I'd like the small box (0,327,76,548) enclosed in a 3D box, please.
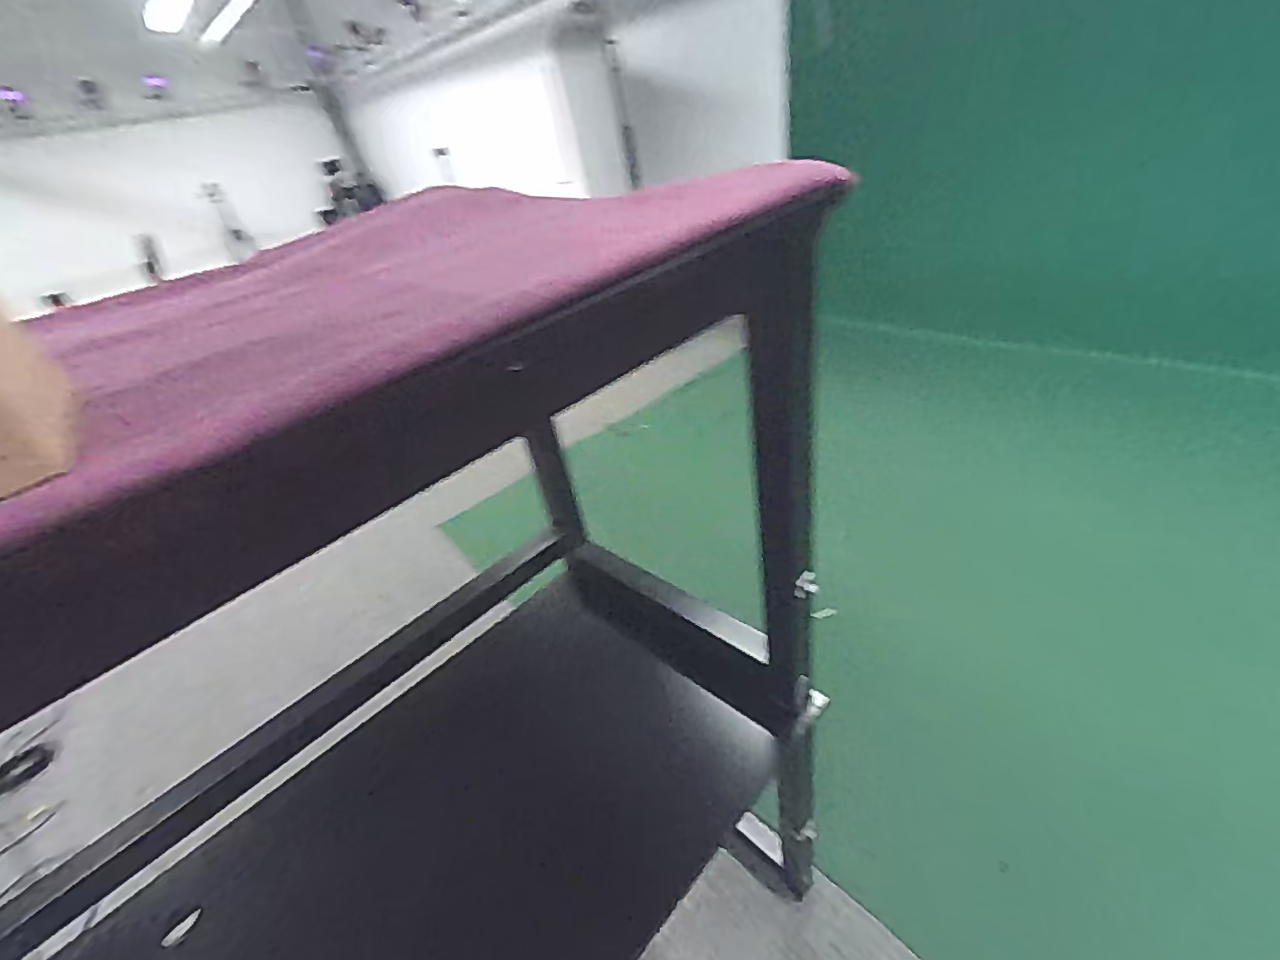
[{"bbox_3d":[-0.368,-0.040,0.199,0.168,0.176,0.179,-35,42,-30],"label":"small box"}]
